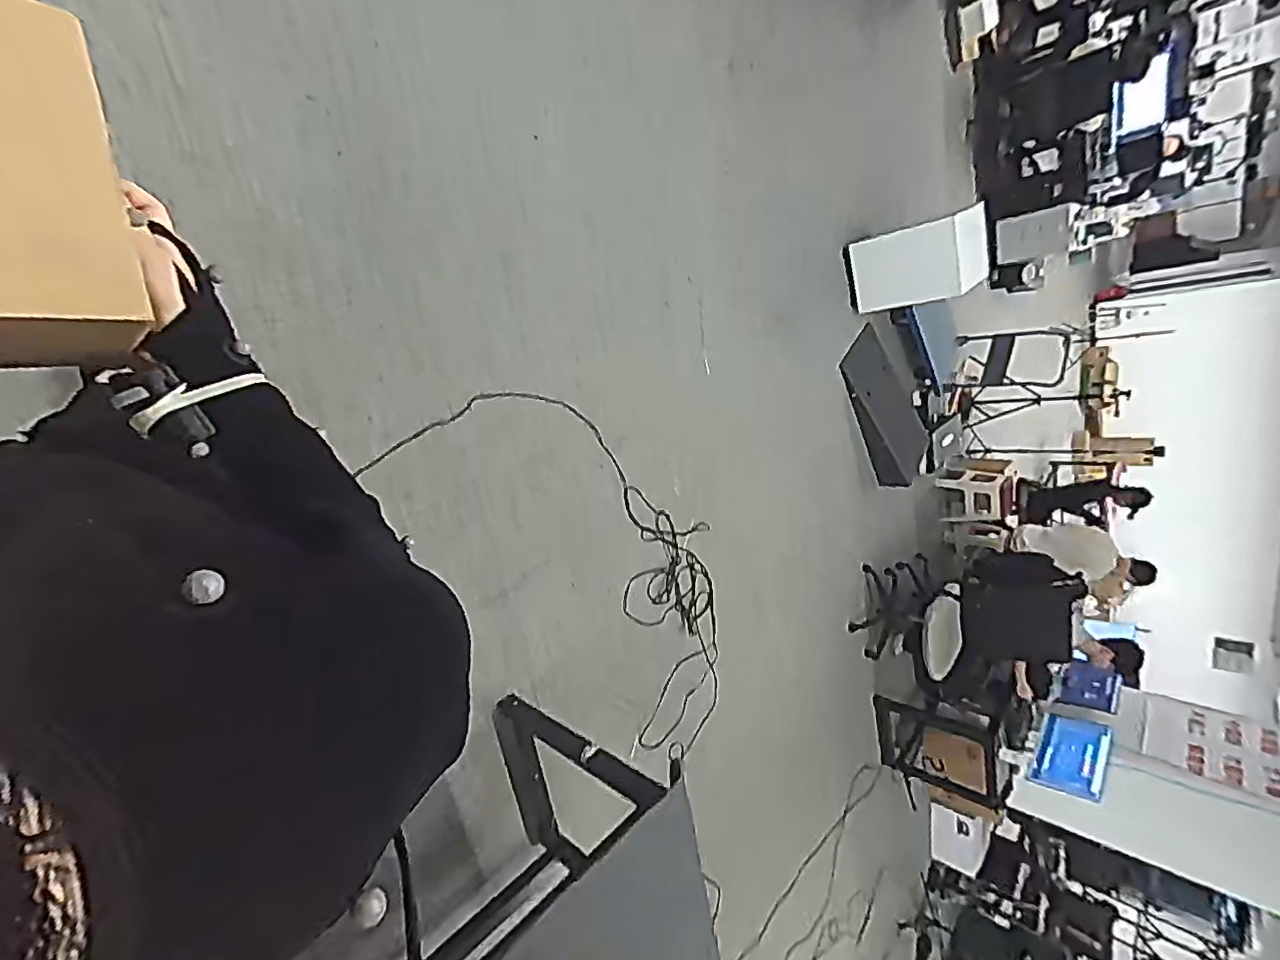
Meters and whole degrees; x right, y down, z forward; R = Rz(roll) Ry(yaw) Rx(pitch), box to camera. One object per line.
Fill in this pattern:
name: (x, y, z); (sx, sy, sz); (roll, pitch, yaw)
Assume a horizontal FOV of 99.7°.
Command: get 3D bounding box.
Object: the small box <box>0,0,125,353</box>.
small box: (-0.432, -0.171, 0.309); (0.168, 0.176, 0.179); (-16, 101, -49)
